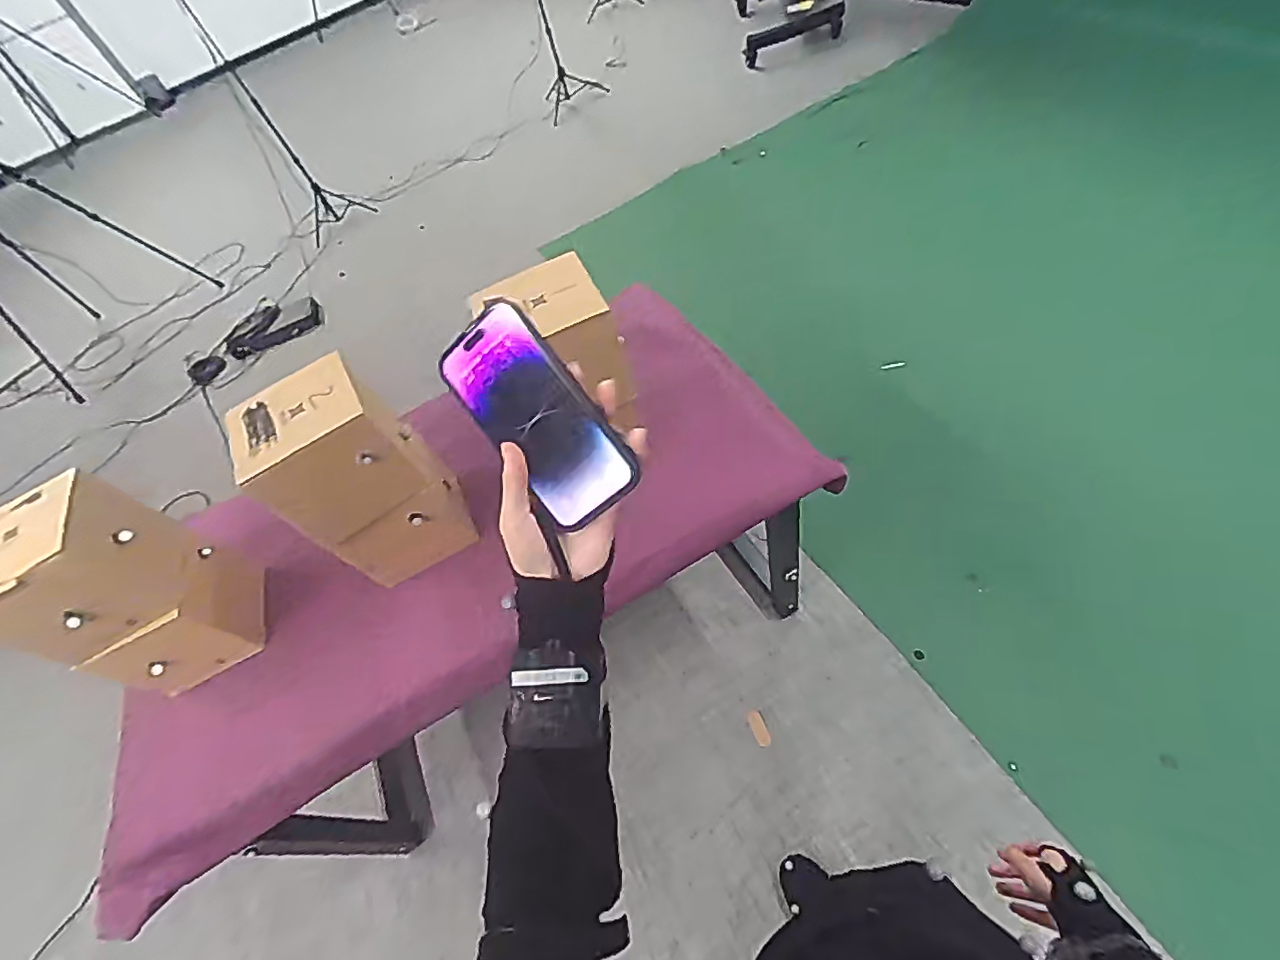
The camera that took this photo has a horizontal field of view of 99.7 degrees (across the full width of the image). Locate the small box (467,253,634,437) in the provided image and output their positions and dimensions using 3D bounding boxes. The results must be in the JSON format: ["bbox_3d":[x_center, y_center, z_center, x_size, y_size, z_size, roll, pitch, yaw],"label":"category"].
[{"bbox_3d":[-0.128,-0.194,0.801,0.179,0.176,0.168,-25,52,-2],"label":"small box"}]

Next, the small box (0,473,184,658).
[{"bbox_3d":[-0.795,0.131,0.769,0.168,0.176,0.179,-33,54,-8],"label":"small box"}]

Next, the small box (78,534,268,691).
[{"bbox_3d":[-0.752,0.228,0.895,0.168,0.176,0.179,-29,53,-5],"label":"small box"}]

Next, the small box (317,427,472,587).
[{"bbox_3d":[-0.405,0.049,0.916,0.179,0.176,0.168,-30,53,-5],"label":"small box"}]

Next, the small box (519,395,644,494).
[{"bbox_3d":[-0.103,-0.108,0.939,0.179,0.176,0.168,-25,52,-1],"label":"small box"}]
